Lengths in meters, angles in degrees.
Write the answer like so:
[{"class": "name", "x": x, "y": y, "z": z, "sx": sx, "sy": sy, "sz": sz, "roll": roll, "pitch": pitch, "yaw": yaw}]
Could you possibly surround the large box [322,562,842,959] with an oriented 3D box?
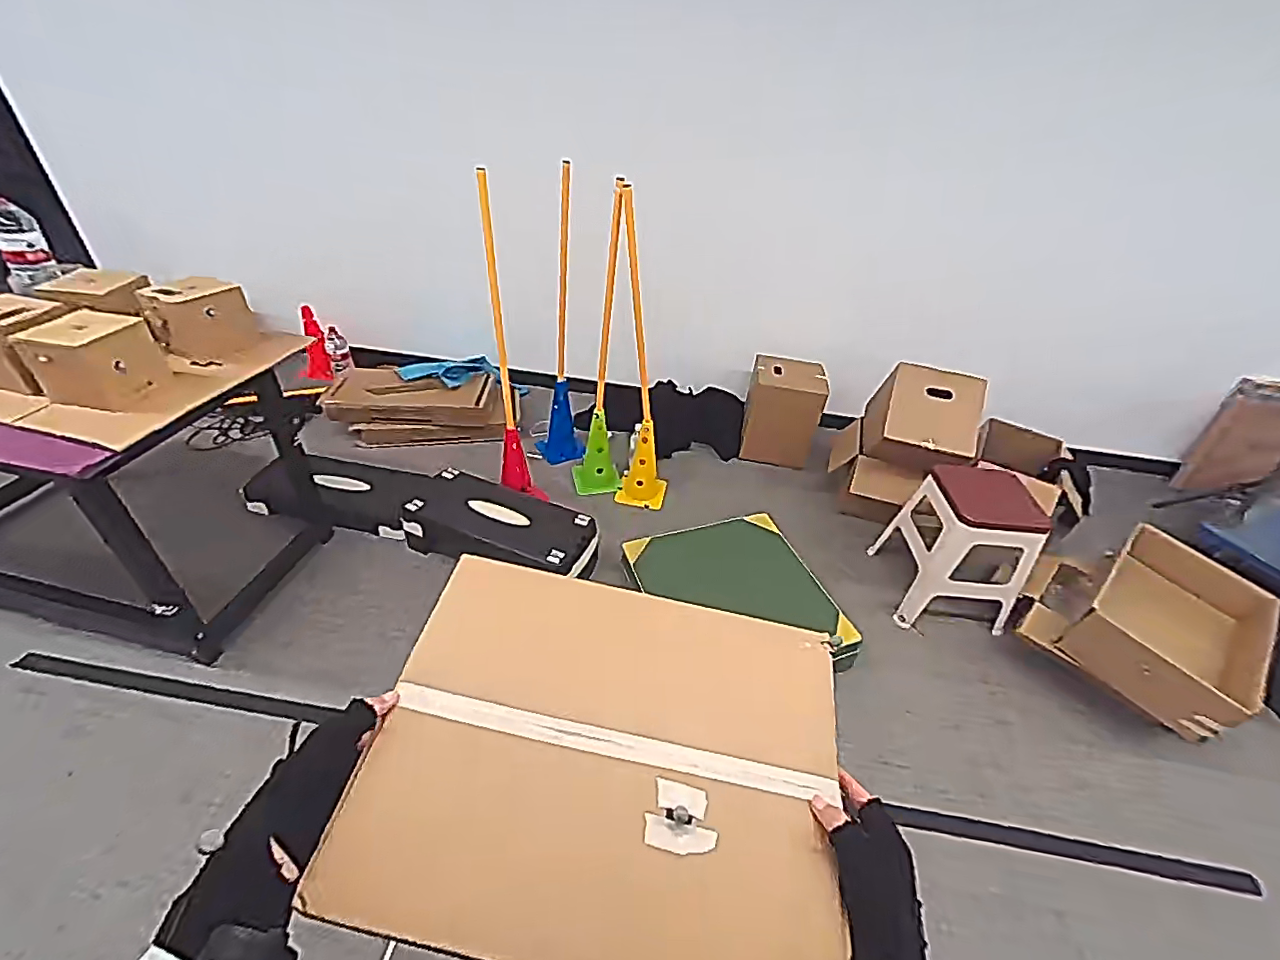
[{"class": "large box", "x": -0.039, "y": 0.338, "z": 0.605, "sx": 0.408, "sy": 0.320, "sz": 0.320, "roll": 13, "pitch": 48, "yaw": 3}]
